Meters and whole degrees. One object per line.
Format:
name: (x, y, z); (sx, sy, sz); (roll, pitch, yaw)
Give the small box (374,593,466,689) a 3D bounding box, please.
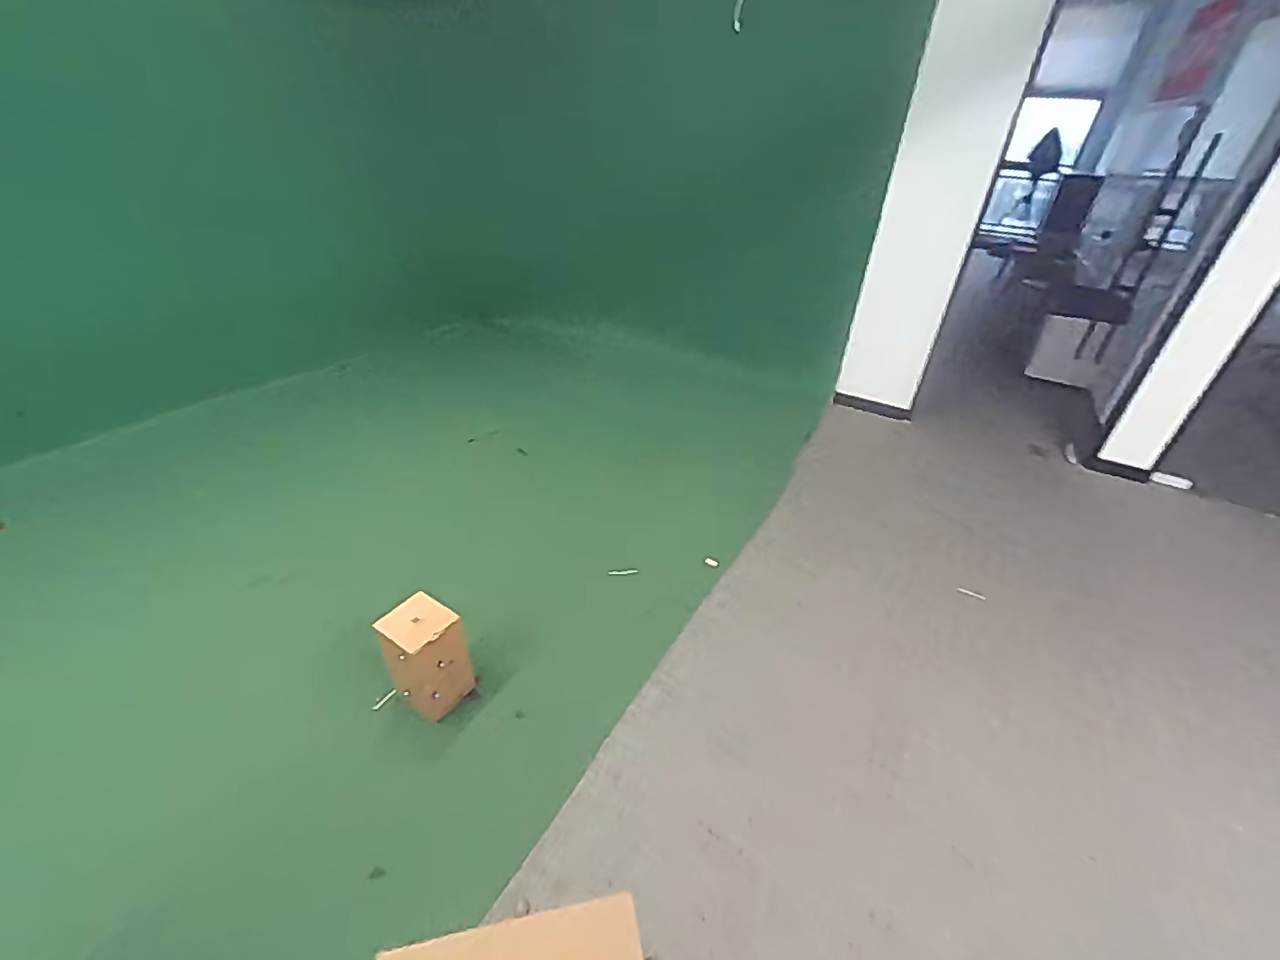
small box: (-0.631, 0.468, 1.564); (0.179, 0.176, 0.168); (21, 38, 26)
